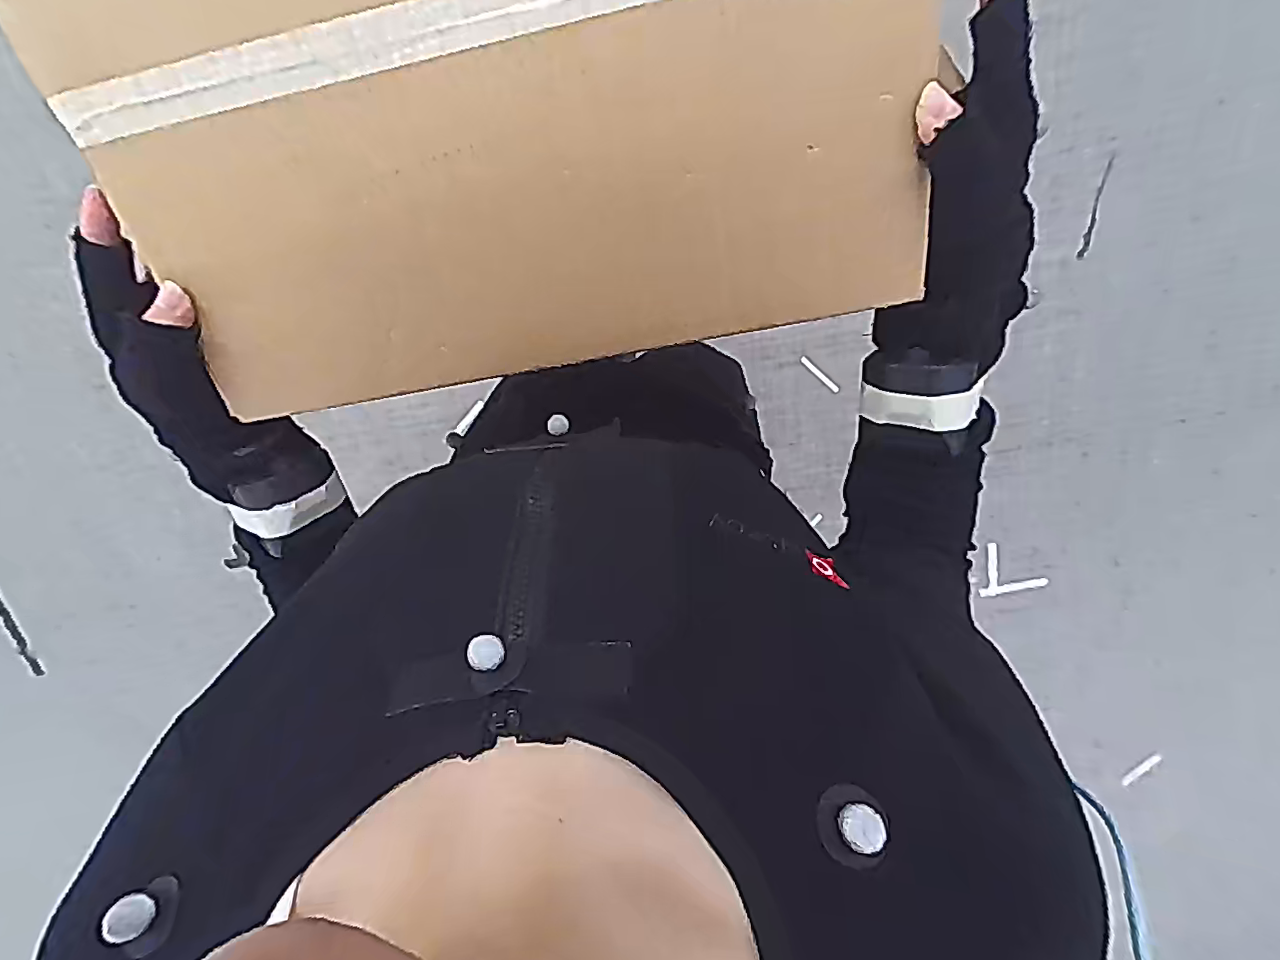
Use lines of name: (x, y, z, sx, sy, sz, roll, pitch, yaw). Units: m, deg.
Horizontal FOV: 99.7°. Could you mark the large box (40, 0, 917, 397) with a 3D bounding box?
large box: (-0.074, -0.284, 0.381, 0.408, 0.320, 0.320, -9, 118, 6)
